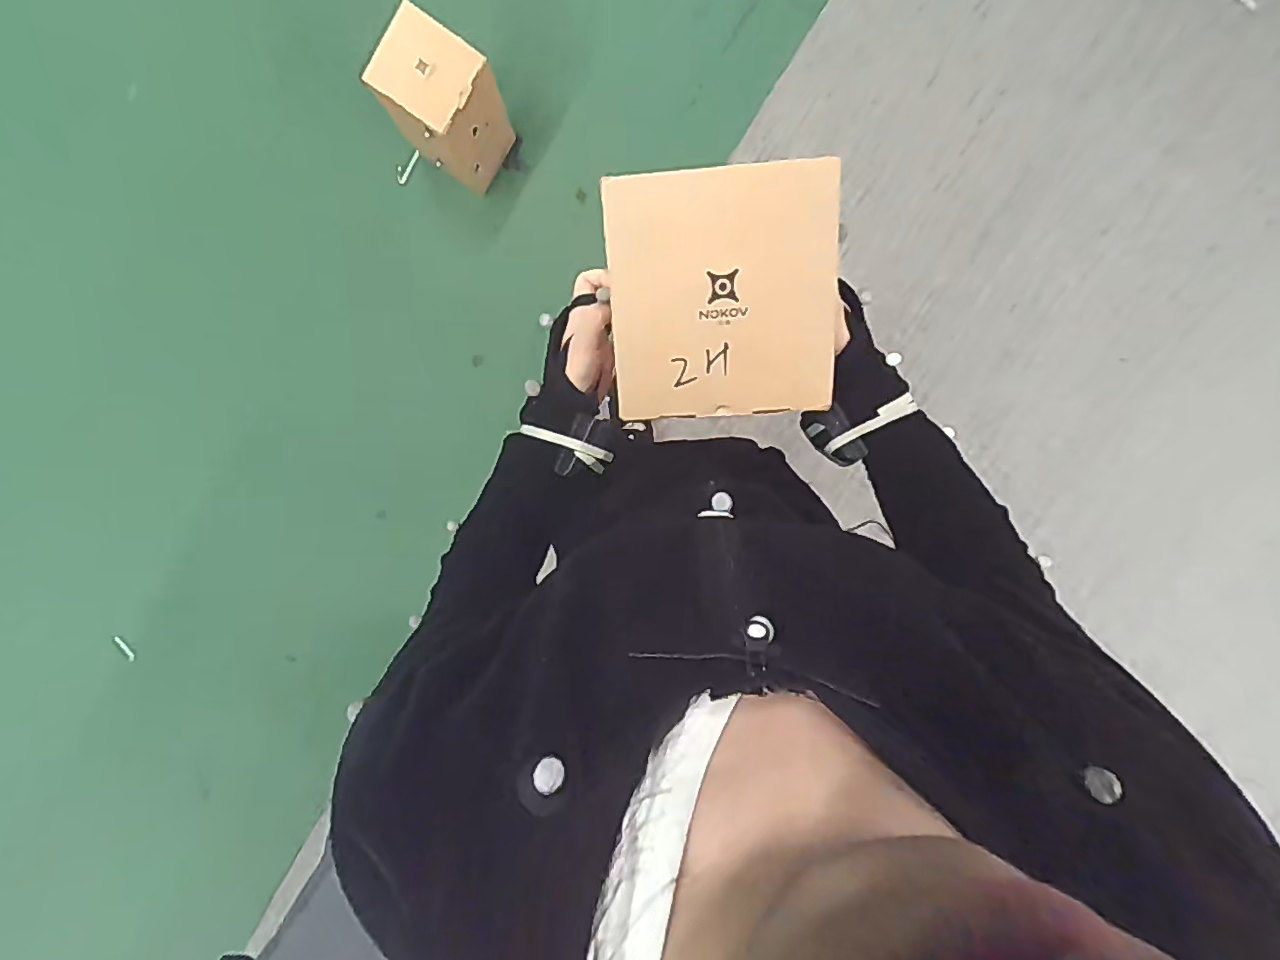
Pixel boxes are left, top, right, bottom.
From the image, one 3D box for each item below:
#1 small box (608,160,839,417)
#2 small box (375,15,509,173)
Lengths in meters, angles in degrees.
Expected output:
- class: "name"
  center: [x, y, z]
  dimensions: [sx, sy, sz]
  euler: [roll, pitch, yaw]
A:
- class: "small box"
  center: [0.067, -0.158, 0.478]
  dimensions: [0.168, 0.176, 0.179]
  euler: [-2, 107, 6]
- class: "small box"
  center: [-0.395, -0.776, 1.112]
  dimensions: [0.179, 0.176, 0.168]
  euler: [32, 96, -7]
